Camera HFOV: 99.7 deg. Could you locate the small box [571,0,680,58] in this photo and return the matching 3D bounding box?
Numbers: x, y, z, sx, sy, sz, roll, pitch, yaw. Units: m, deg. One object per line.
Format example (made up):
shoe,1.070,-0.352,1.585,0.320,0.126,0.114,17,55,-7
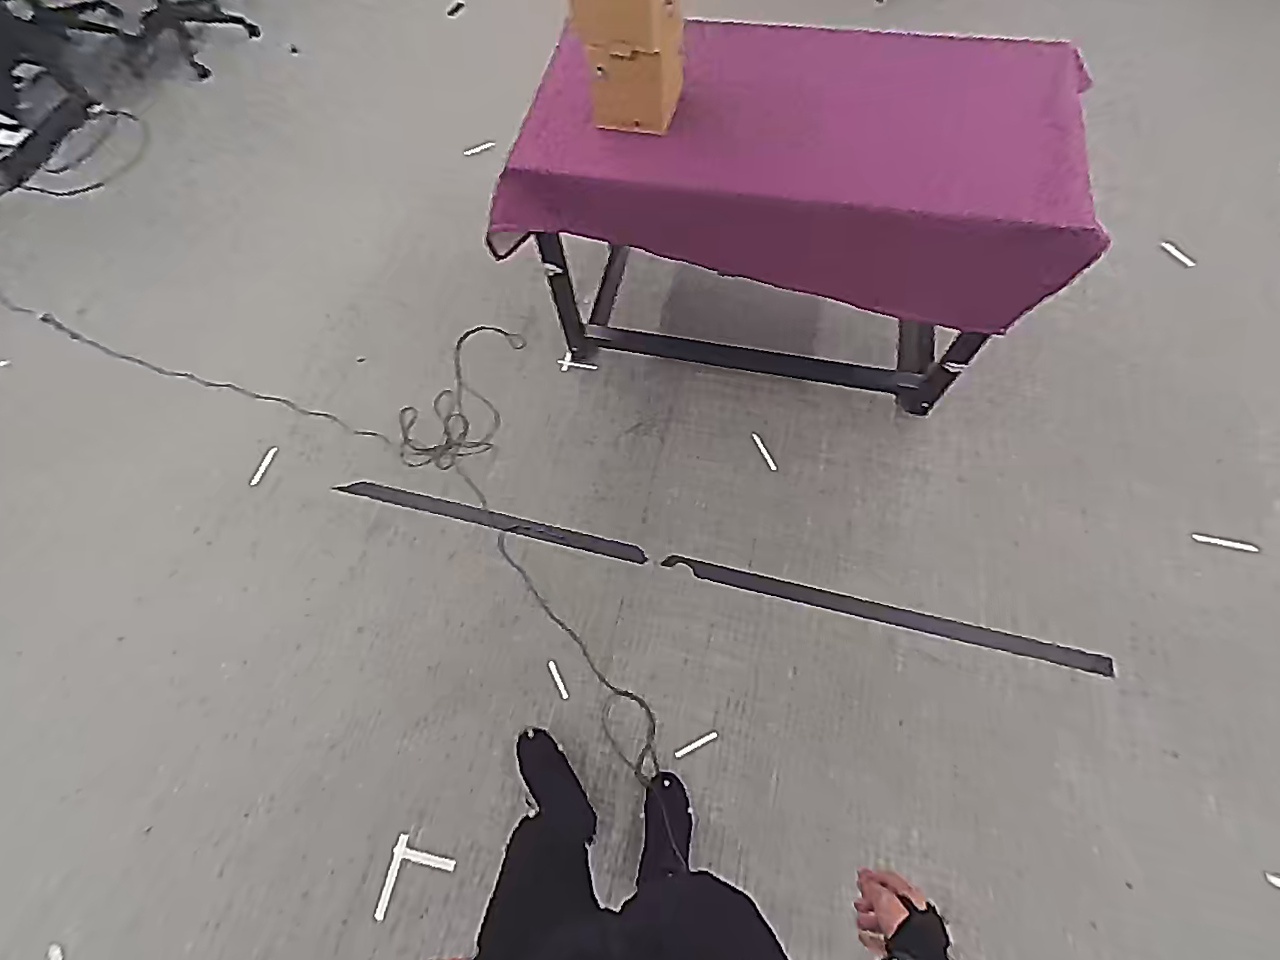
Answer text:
small box,-0.030,-0.960,1.045,0.179,0.176,0.168,19,69,11
